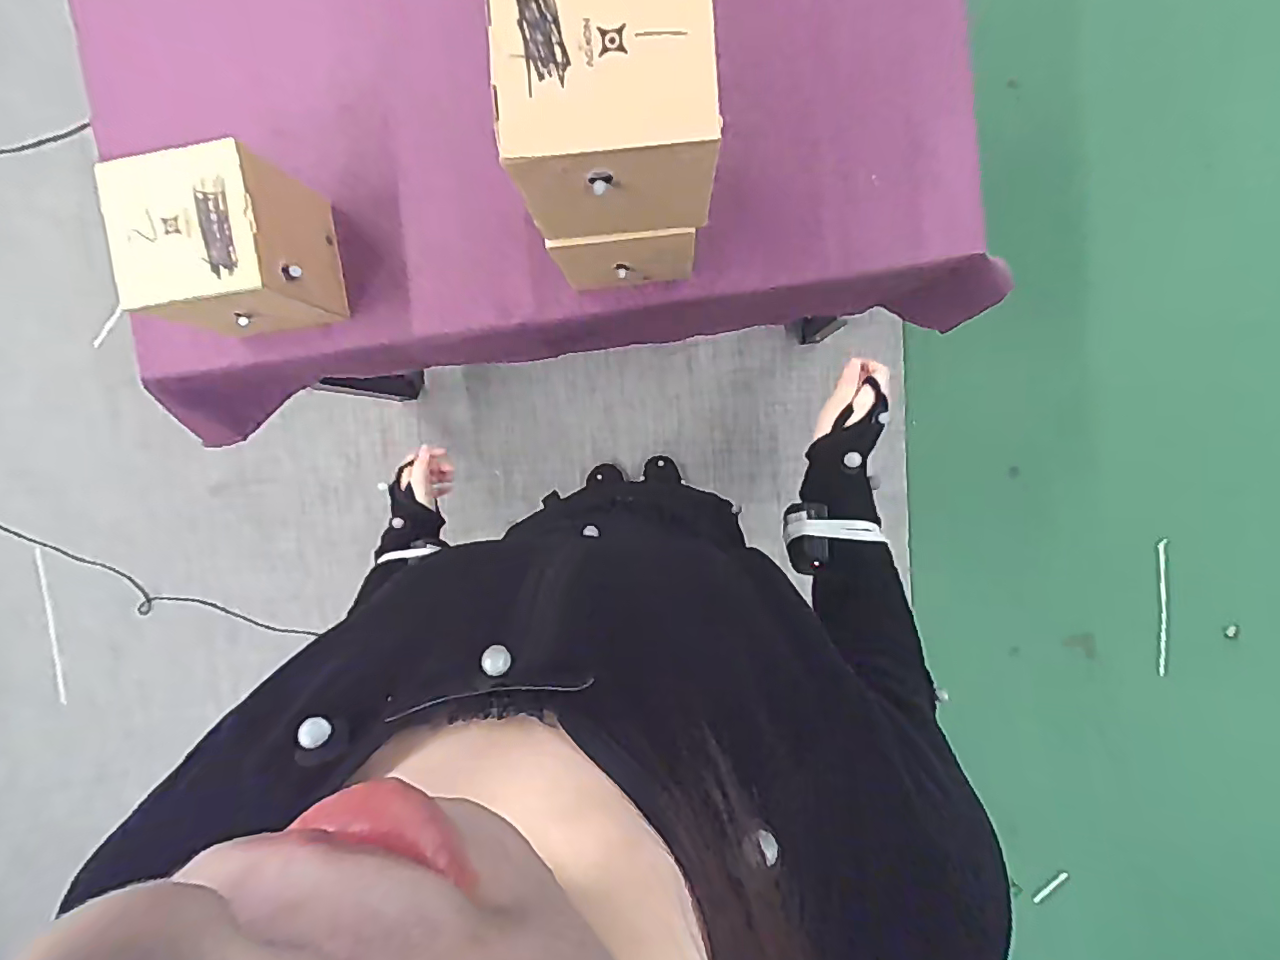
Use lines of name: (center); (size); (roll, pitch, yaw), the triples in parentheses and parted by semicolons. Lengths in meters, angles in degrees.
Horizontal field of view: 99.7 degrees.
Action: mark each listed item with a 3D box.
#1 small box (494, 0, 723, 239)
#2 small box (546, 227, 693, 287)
small box: (-0.022, -0.338, 0.500); (0.179, 0.176, 0.168); (-4, 94, 2)
small box: (-0.022, -0.346, 0.665); (0.168, 0.176, 0.179); (-4, 94, 3)
